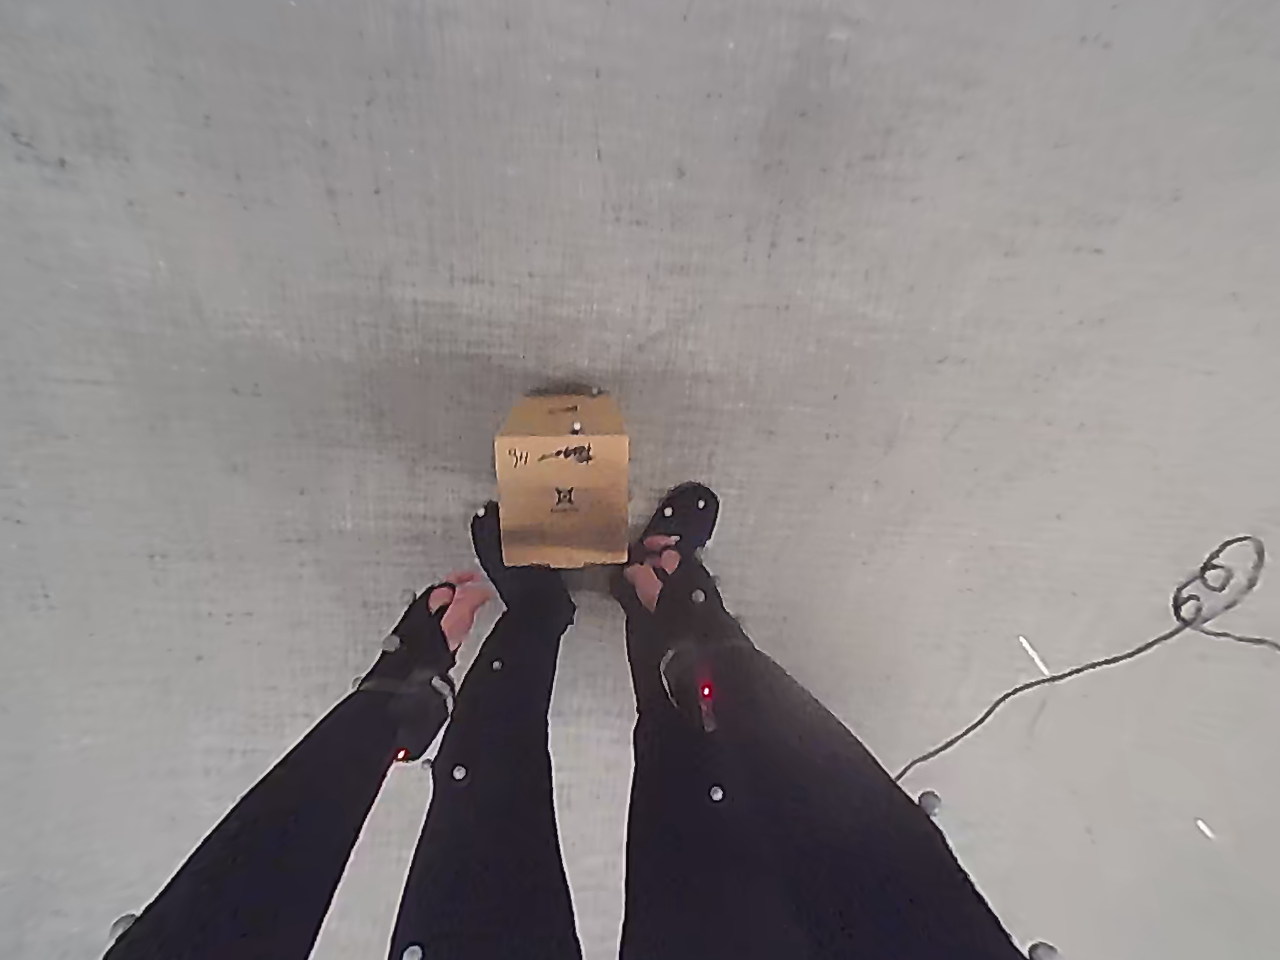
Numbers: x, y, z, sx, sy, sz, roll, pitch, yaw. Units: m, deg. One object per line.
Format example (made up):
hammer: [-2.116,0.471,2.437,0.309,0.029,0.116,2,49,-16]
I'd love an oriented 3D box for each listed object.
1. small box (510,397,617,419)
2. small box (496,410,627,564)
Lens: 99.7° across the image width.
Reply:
small box: [-0.125,-0.046,0.924,0.168,0.176,0.179,-2,109,-5]
small box: [-0.104,0.003,0.771,0.168,0.176,0.179,-1,109,-5]
